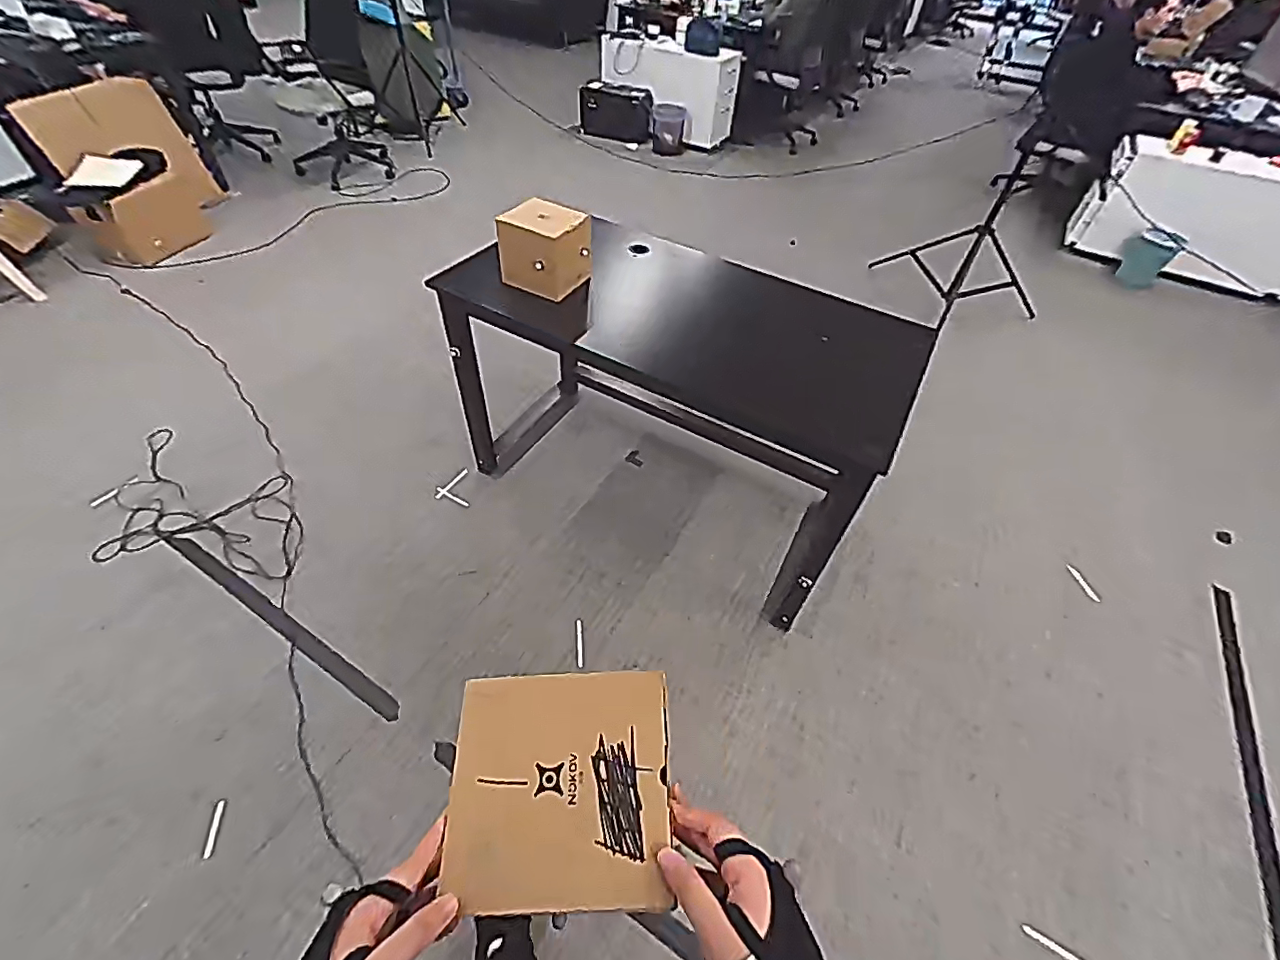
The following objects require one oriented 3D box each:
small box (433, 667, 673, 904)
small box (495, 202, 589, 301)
[{"bbox_3d":[-0.062,0.279,0.500,0.179,0.176,0.168,-4,56,2],"label":"small box"},{"bbox_3d":[-0.244,-0.582,1.388,0.179,0.176,0.168,23,50,16],"label":"small box"}]
